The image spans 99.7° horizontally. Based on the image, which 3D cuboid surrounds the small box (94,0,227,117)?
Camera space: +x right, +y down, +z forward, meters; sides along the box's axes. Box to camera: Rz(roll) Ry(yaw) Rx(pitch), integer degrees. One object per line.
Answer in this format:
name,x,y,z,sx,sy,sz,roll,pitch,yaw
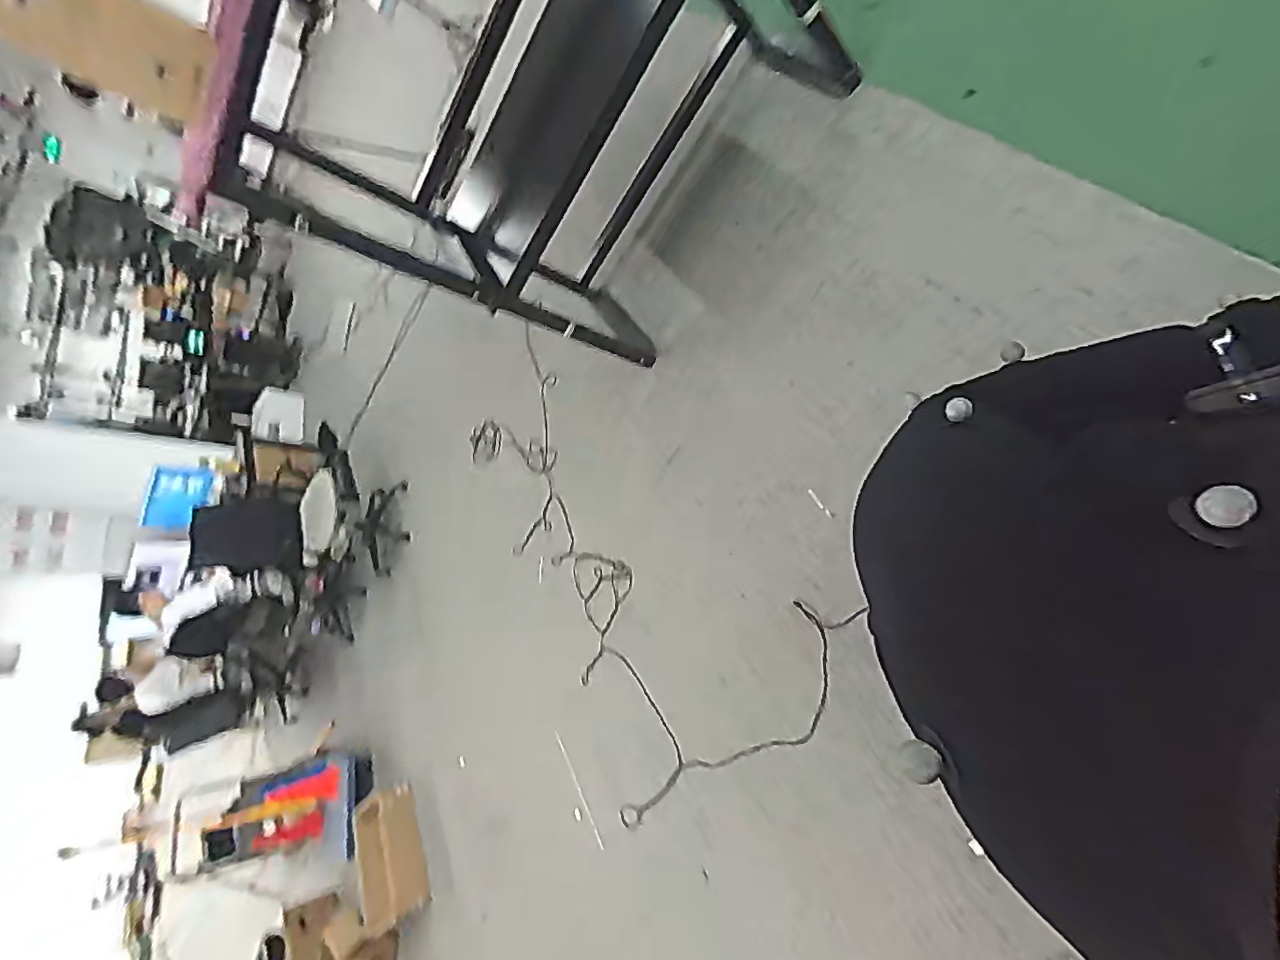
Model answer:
small box,-0.925,-0.850,1.050,0.168,0.176,0.179,-51,53,23
